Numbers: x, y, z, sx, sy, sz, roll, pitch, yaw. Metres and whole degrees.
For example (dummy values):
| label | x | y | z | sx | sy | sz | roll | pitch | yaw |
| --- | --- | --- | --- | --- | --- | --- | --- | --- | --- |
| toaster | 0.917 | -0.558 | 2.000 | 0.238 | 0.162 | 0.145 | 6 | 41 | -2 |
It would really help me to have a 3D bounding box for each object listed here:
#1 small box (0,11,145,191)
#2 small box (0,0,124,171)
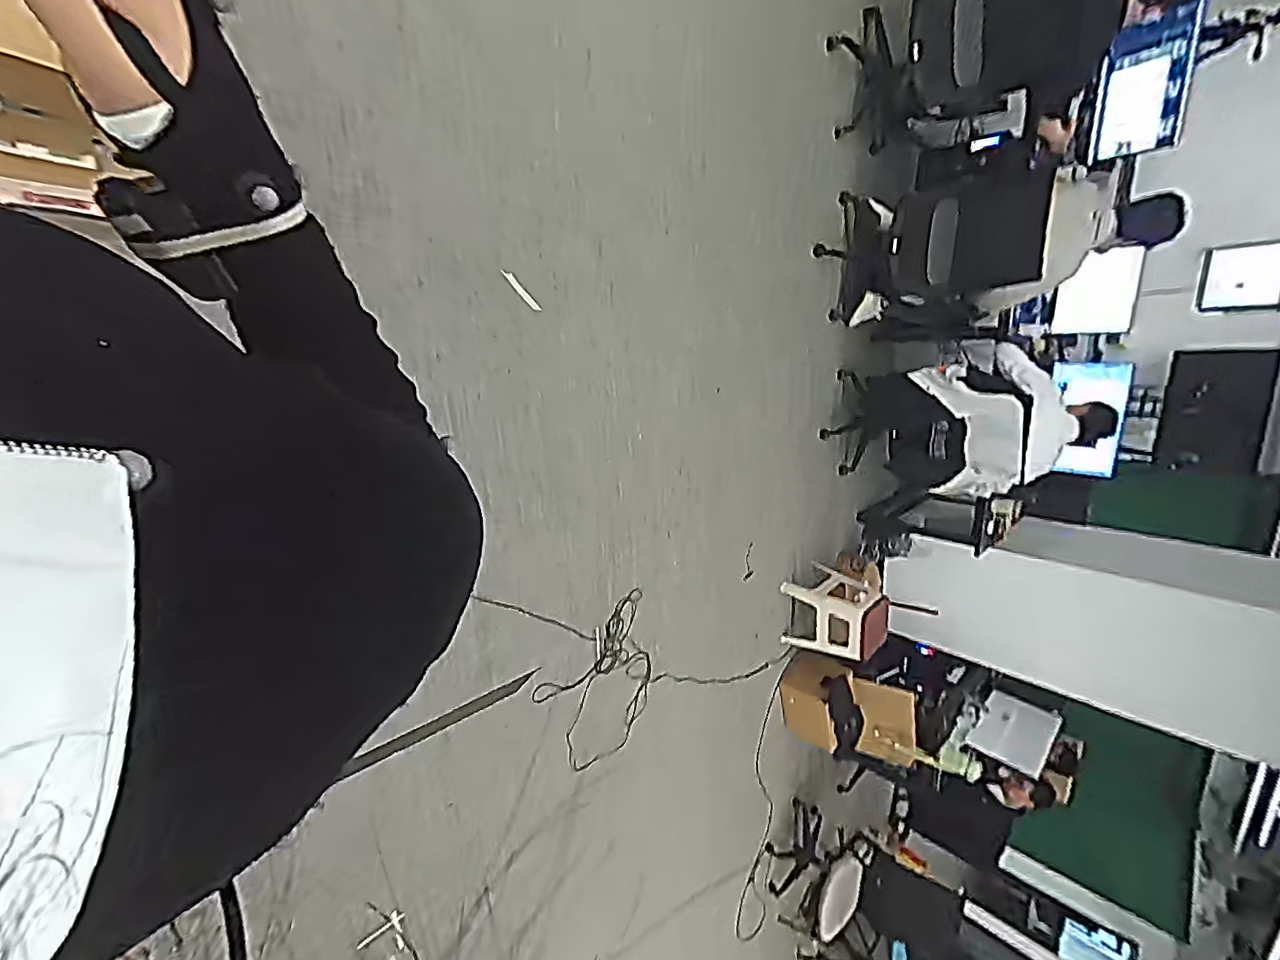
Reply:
| label | x | y | z | sx | sy | sz | roll | pitch | yaw |
| --- | --- | --- | --- | --- | --- | --- | --- | --- | --- |
| small box | -0.693 | -0.439 | 0.604 | 0.179 | 0.176 | 0.168 | -13 | 109 | -44 |
| small box | -0.588 | -0.406 | 0.480 | 0.168 | 0.176 | 0.179 | -8 | 106 | -46 |
